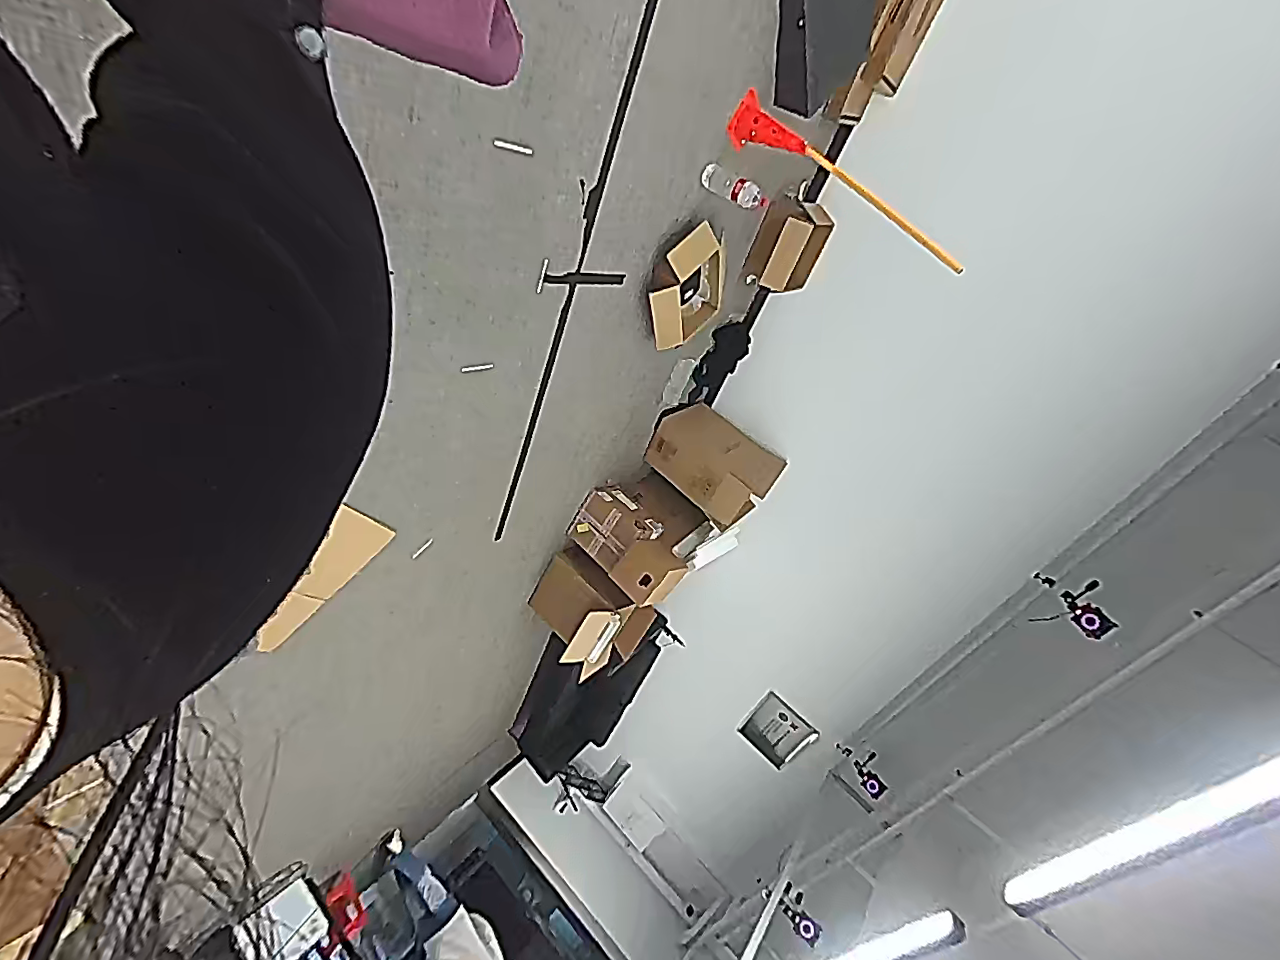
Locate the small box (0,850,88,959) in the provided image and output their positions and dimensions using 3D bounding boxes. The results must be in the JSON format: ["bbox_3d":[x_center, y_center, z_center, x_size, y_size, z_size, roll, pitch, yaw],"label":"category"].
[{"bbox_3d":[-1.518,1.073,1.330,0.179,0.176,0.168,-24,148,-53],"label":"small box"}]
